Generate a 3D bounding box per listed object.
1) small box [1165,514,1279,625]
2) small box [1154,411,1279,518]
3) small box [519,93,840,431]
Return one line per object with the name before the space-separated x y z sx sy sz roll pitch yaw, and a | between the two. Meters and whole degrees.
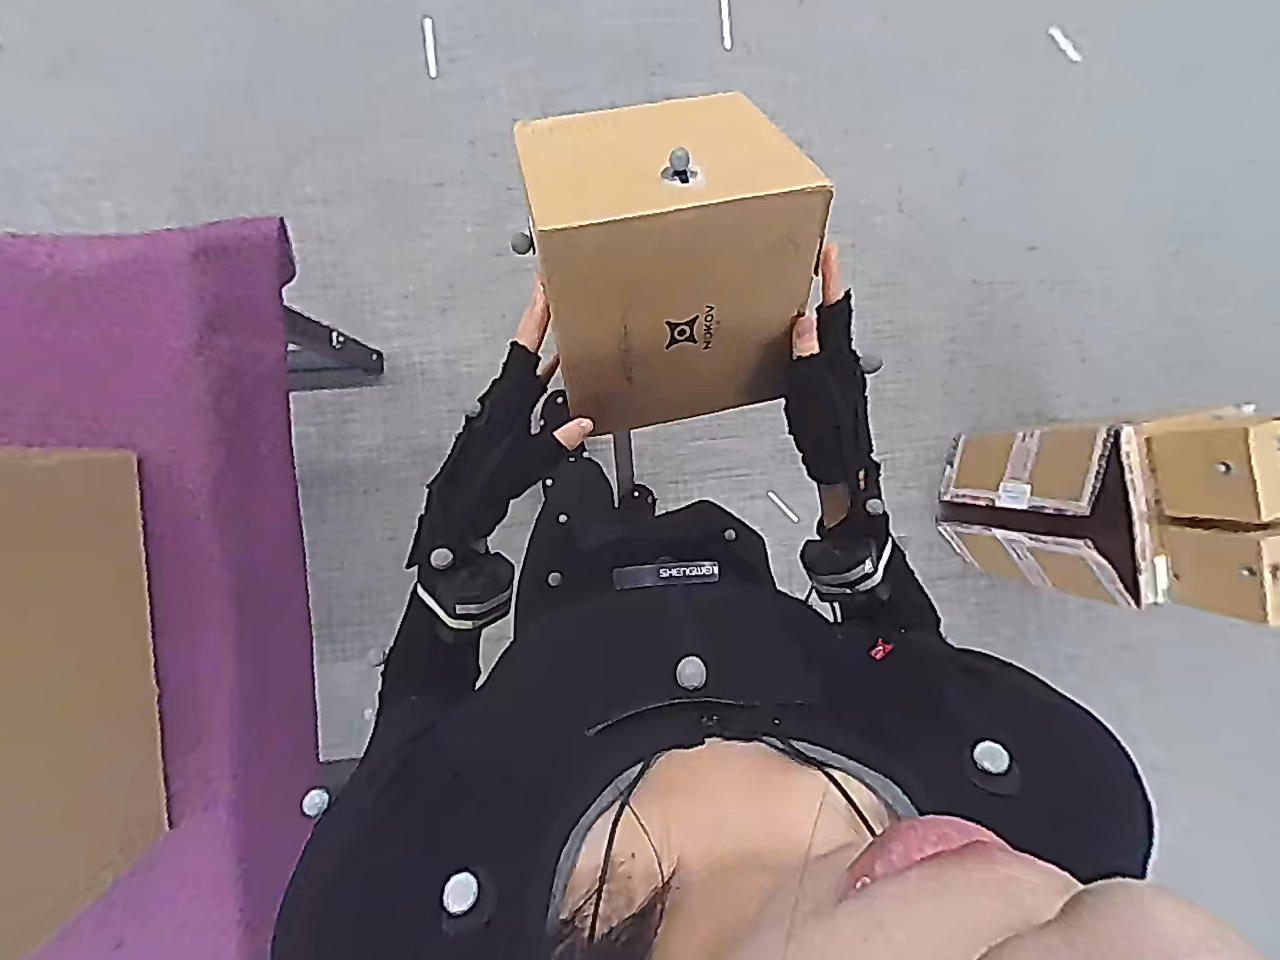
small box | 1.188 0.163 1.053 0.179 0.176 0.168 -10 94 -6
small box | 1.152 -0.031 1.043 0.168 0.176 0.179 -13 92 -6
small box | 0.017 -0.166 0.408 0.179 0.168 0.176 -12 50 -5
